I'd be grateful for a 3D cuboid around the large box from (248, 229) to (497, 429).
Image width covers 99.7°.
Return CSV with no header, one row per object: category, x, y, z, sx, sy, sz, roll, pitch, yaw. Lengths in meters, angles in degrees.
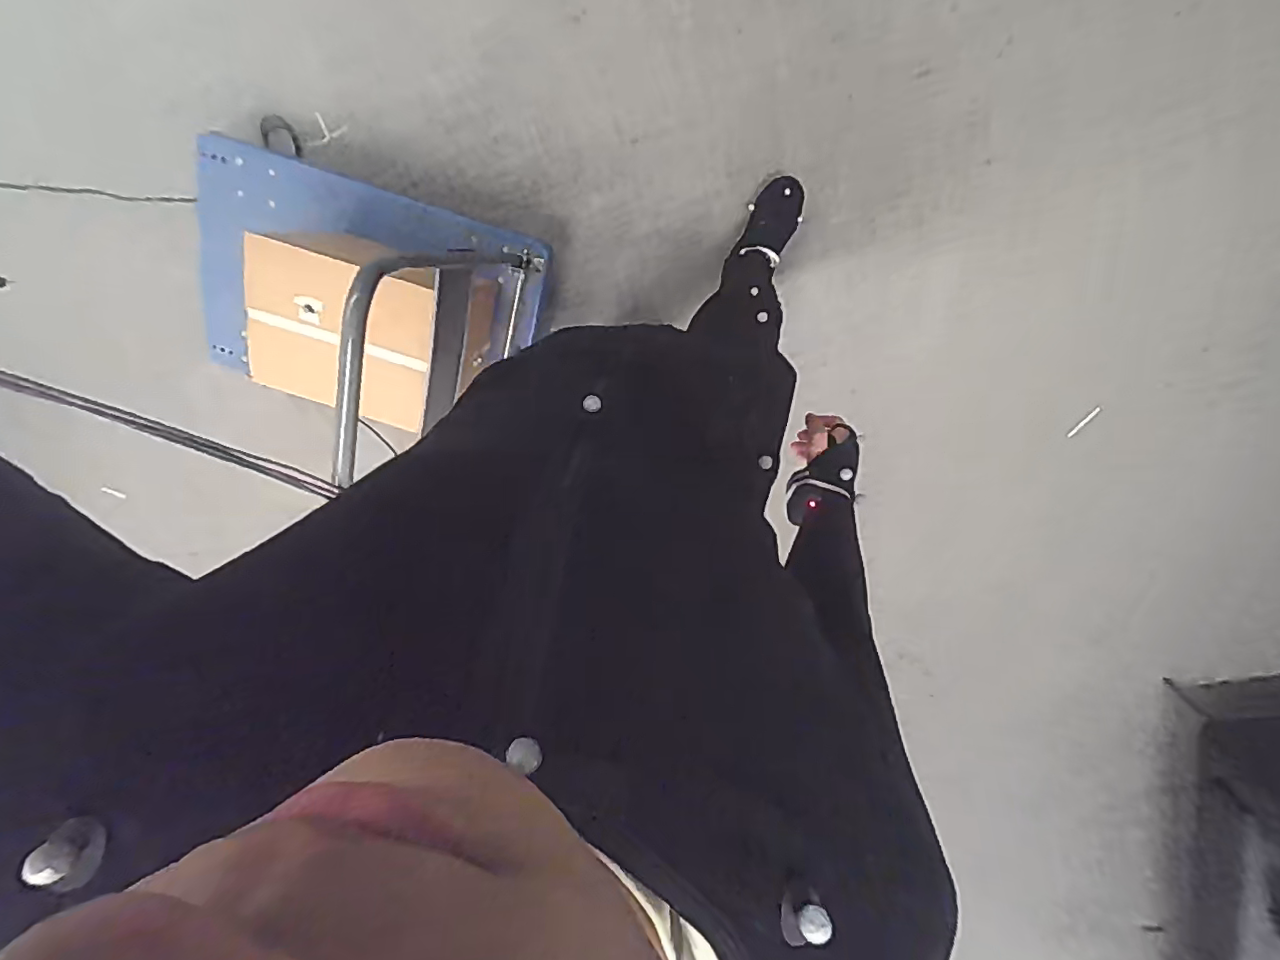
large box,-0.586,-0.357,1.240,0.408,0.320,0.320,18,115,0
